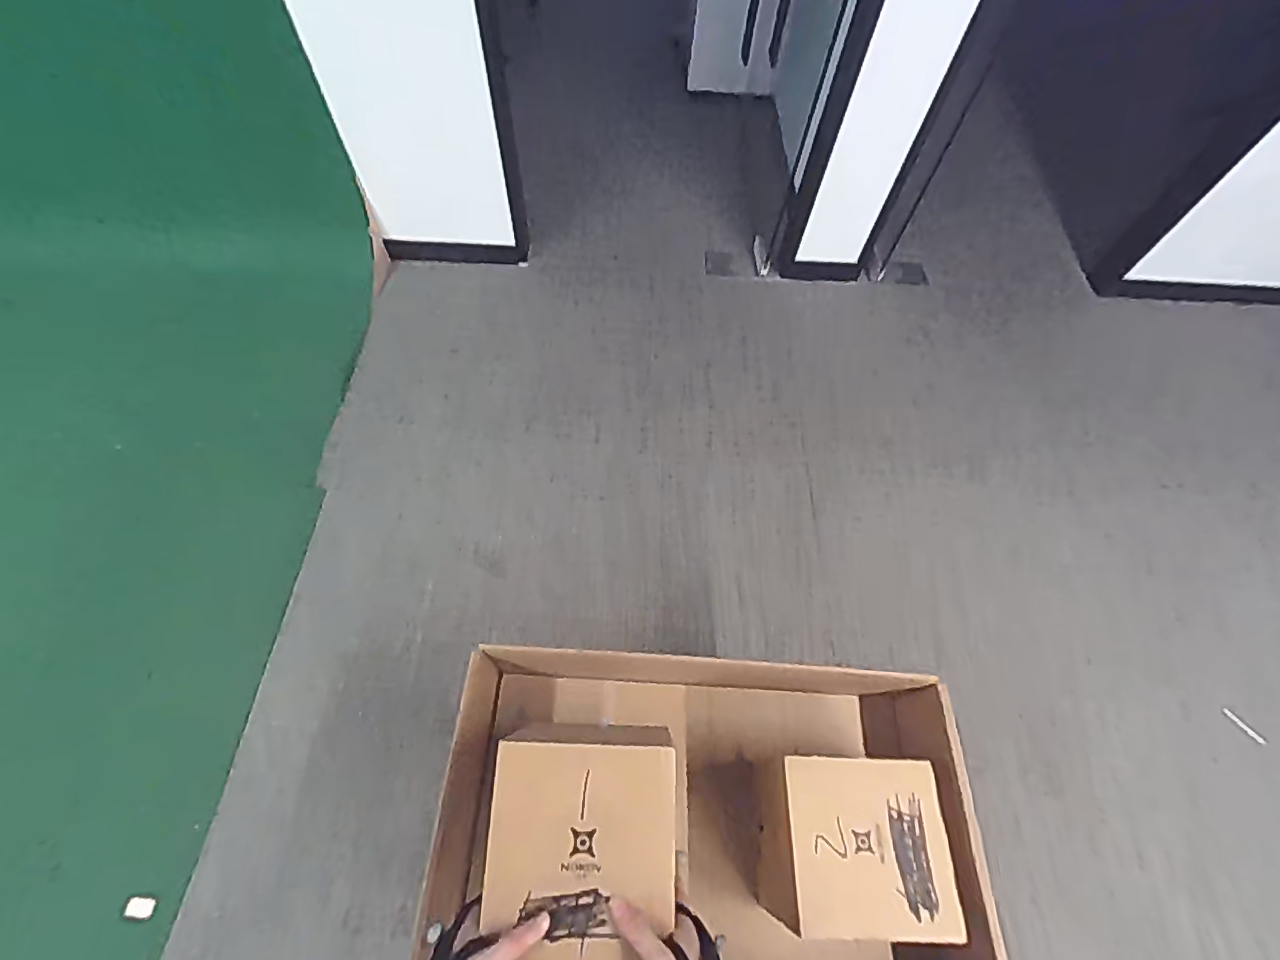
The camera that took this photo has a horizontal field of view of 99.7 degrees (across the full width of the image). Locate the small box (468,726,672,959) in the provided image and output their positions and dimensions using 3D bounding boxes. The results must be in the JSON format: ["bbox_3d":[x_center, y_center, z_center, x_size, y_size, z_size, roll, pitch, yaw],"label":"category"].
[{"bbox_3d":[-0.054,0.352,0.536,0.168,0.176,0.179,2,70,1],"label":"small box"}]
